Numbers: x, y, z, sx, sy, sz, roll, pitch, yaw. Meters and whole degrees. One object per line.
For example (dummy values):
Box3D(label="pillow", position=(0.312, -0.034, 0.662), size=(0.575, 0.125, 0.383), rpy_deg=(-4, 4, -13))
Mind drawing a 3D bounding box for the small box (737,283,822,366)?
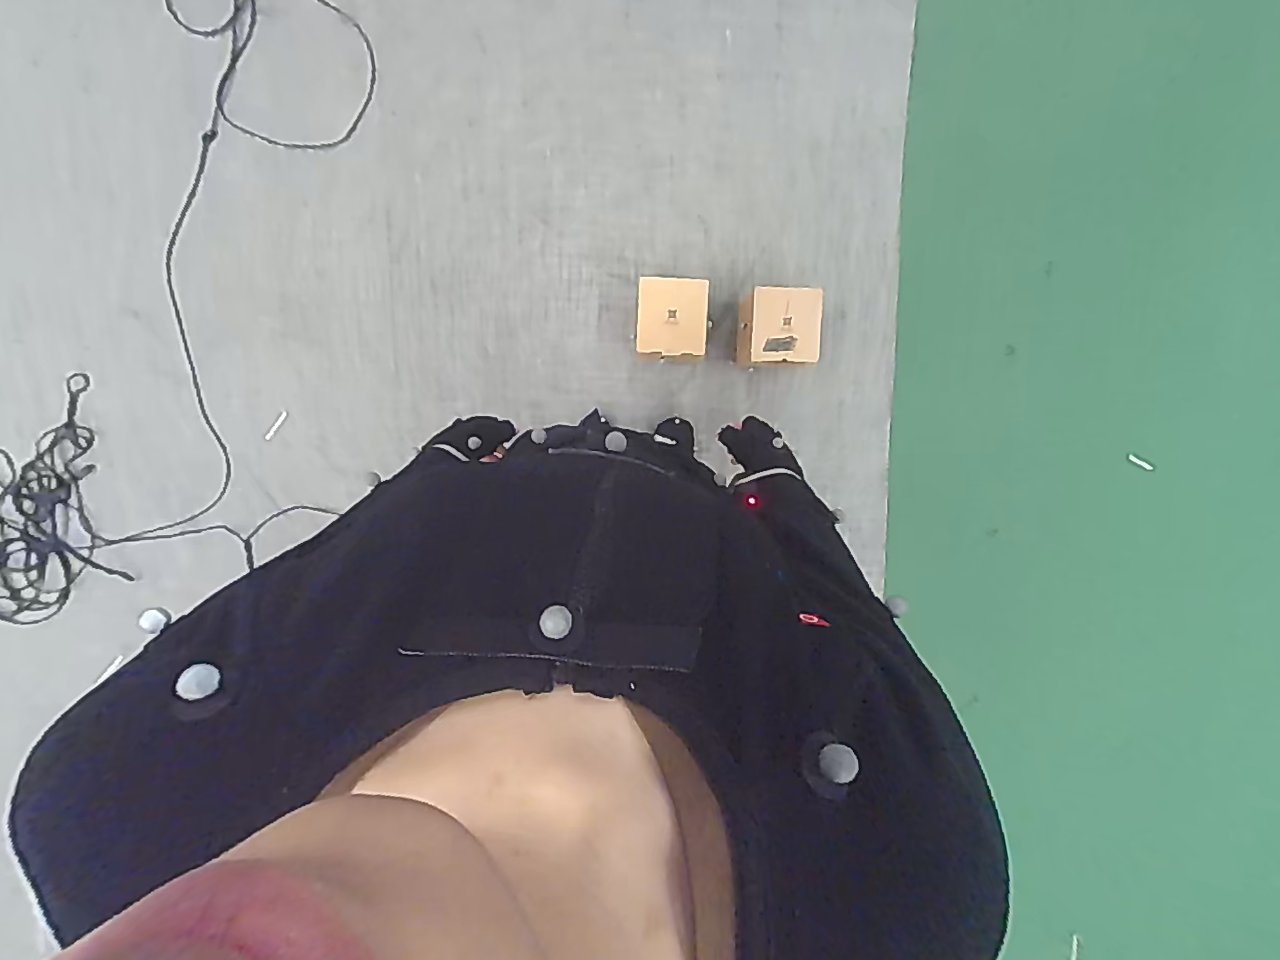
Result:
Box3D(label="small box", position=(0.341, -0.381, 1.352), size=(0.168, 0.176, 0.179), rpy_deg=(2, 97, -1))

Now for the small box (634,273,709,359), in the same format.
Box3D(label="small box", position=(0.073, -0.401, 1.345), size=(0.168, 0.176, 0.179), rpy_deg=(2, 98, -2))
